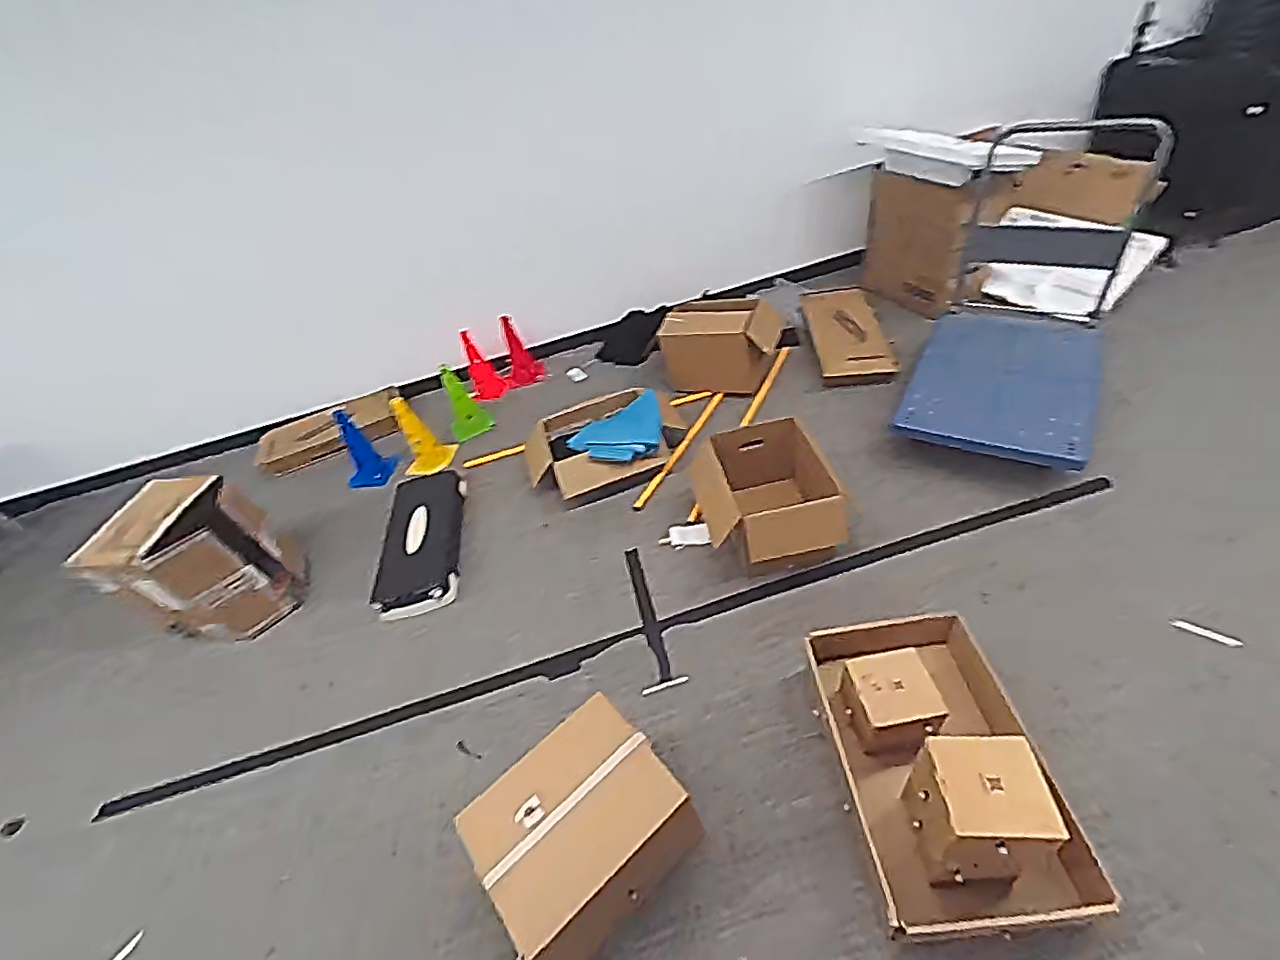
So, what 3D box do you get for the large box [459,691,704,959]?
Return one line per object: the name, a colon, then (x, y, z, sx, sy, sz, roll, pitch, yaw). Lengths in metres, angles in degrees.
large box: (-0.112, 0.779, 1.218, 0.408, 0.320, 0.320, -37, 47, -21)
